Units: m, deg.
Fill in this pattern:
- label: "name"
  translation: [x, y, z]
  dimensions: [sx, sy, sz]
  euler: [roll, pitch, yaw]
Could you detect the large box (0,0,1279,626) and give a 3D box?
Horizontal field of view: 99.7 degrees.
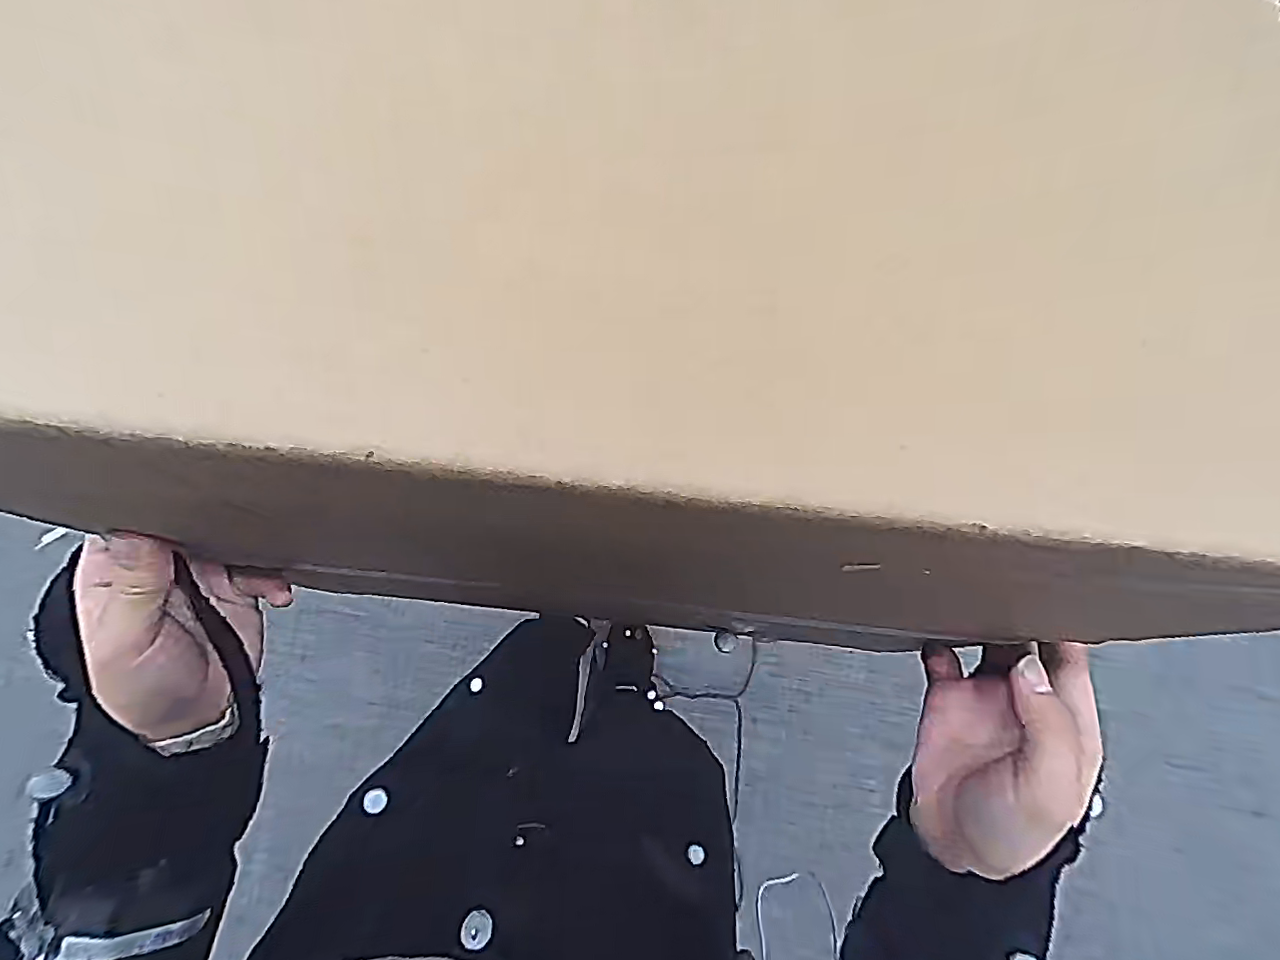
- label: "large box"
  translation: [-0.001, -0.105, 0.301]
  dimensions: [0.408, 0.320, 0.320]
  euler: [6, 72, -1]
